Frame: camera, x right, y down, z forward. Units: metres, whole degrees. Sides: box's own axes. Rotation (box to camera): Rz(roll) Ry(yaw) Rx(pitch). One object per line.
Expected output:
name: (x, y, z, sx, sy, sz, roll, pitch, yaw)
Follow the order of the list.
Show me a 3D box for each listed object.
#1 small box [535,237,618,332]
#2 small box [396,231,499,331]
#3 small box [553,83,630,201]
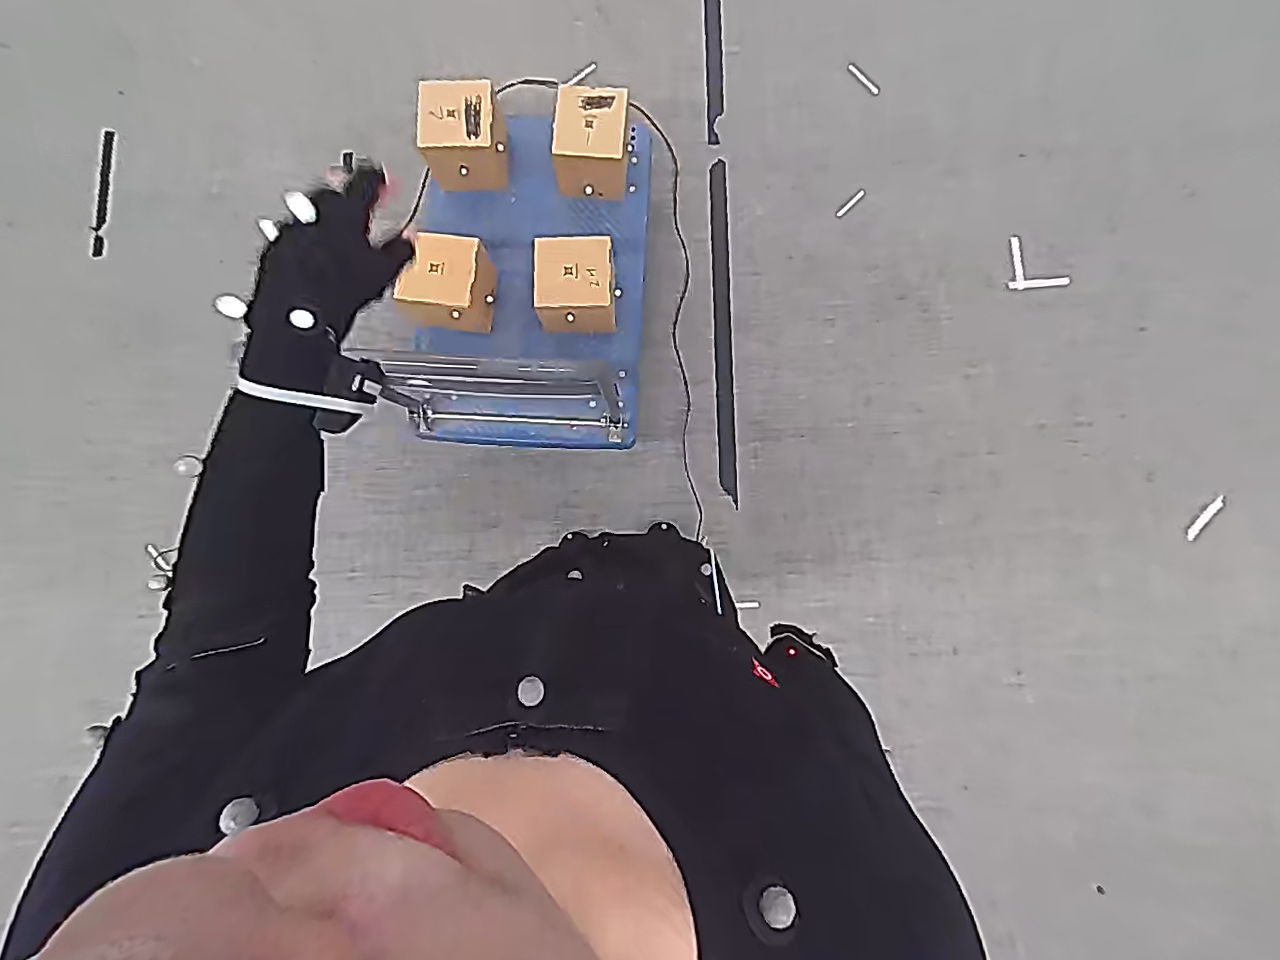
small box: (-0.148, -0.462, 1.298, 0.179, 0.176, 0.168, 0, 85, 1)
small box: (-0.457, -0.471, 1.304, 0.179, 0.176, 0.168, 6, 85, 0)
small box: (-0.112, -0.825, 1.330, 0.168, 0.176, 0.179, 5, 86, 1)
